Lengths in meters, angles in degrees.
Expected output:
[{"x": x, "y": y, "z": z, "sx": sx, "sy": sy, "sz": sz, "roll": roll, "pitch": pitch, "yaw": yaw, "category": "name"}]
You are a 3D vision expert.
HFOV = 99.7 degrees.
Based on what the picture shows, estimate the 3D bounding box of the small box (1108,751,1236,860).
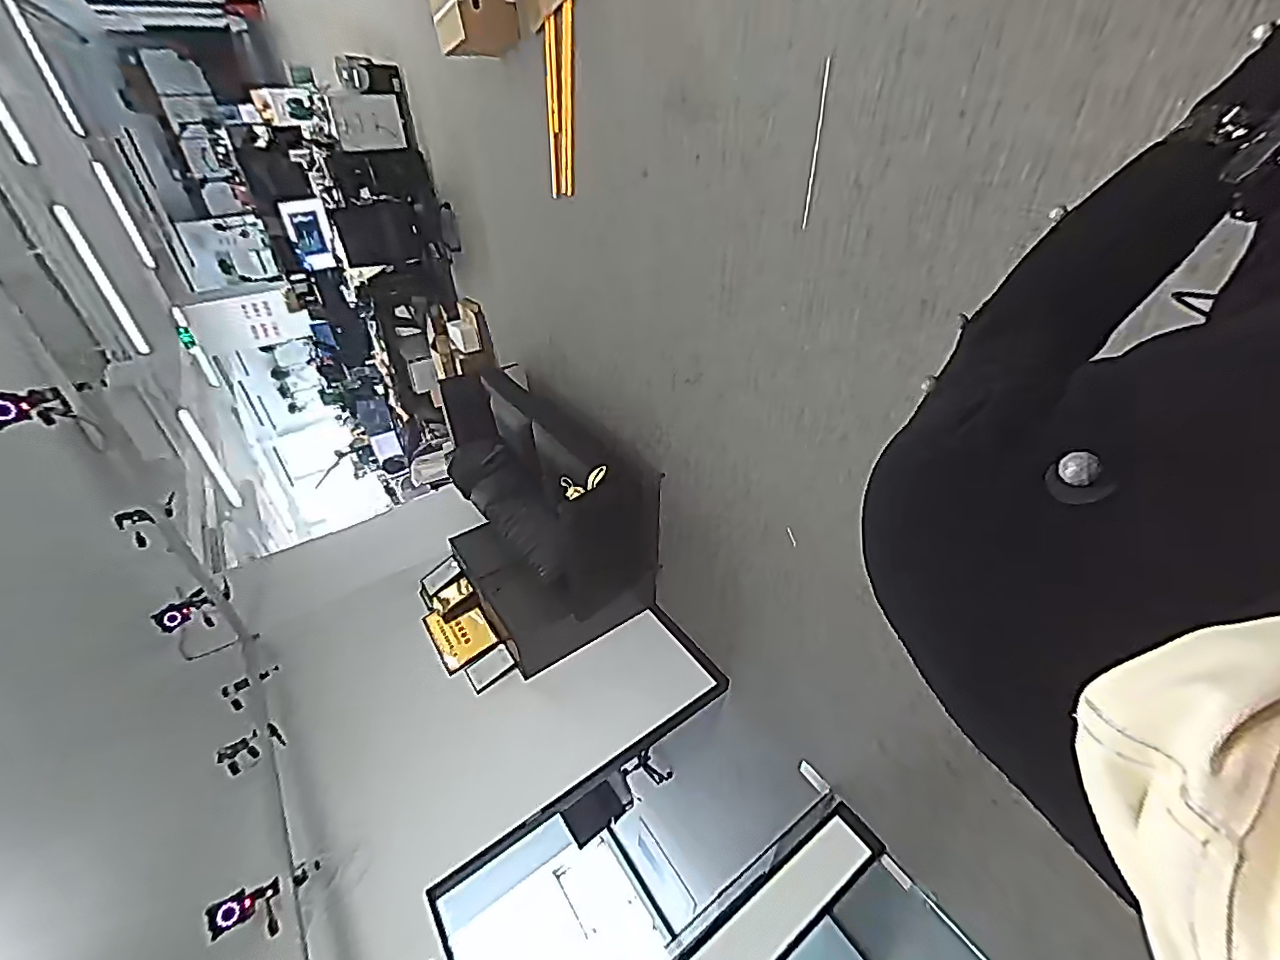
[{"x": 1.457, "y": 0.882, "z": 1.485, "sx": 0.179, "sy": 0.176, "sz": 0.168, "roll": 40, "pitch": 143, "yaw": 40, "category": "small box"}]
